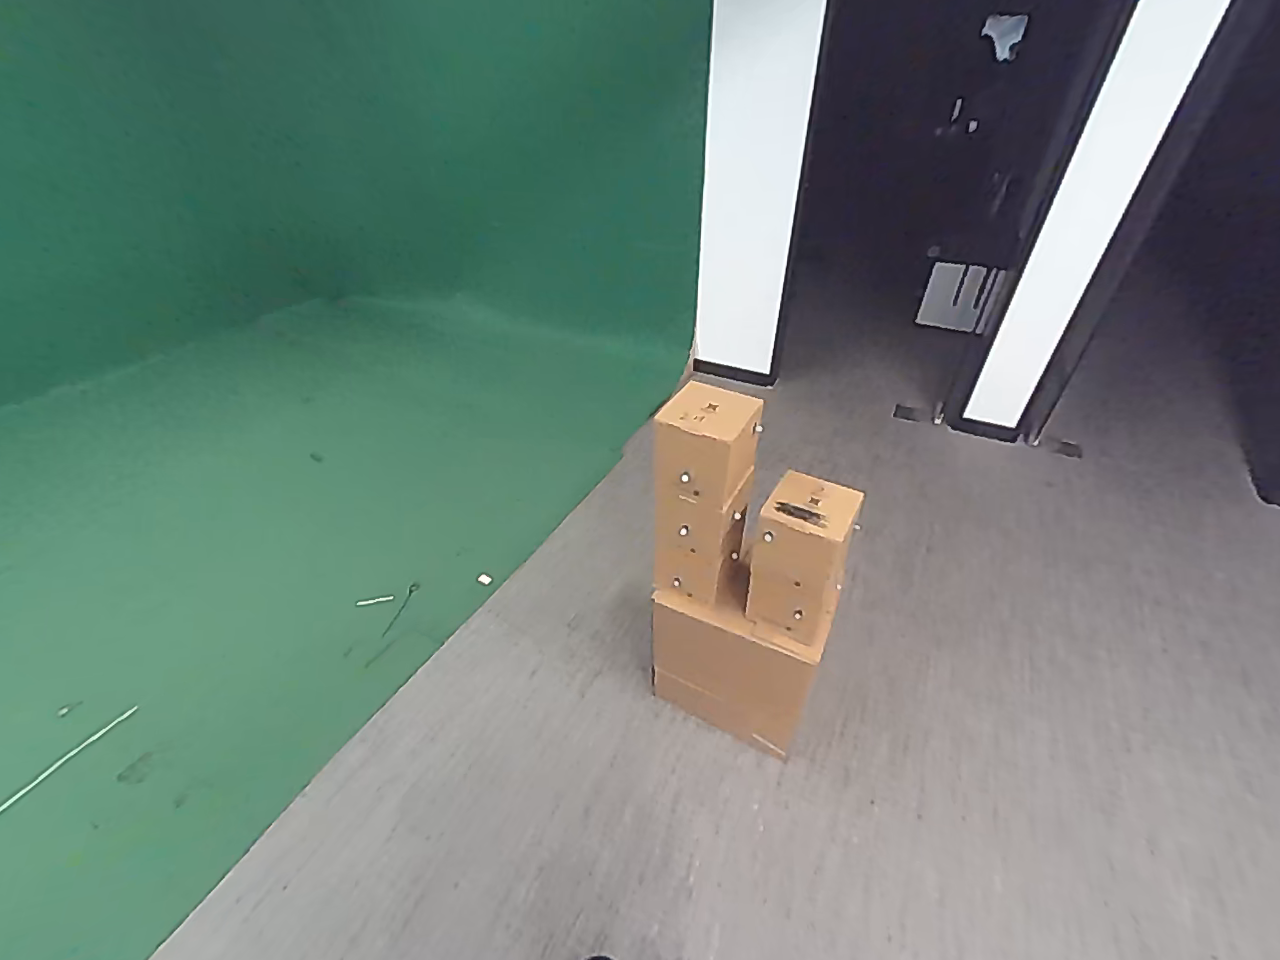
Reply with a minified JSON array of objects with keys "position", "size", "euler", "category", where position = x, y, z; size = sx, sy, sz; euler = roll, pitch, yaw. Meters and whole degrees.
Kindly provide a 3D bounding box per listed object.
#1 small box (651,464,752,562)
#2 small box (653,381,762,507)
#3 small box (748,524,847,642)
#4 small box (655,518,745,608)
[{"position":[0.138,0.054,1.218],"size":[0.168,0.176,0.179],"euler":[20,45,22],"category":"small box"},{"position":[0.134,-0.076,1.115],"size":[0.168,0.176,0.179],"euler":[20,44,23],"category":"small box"},{"position":[0.357,0.237,1.244],"size":[0.168,0.176,0.179],"euler":[20,43,25],"category":"small box"},{"position":[0.142,0.177,1.326],"size":[0.168,0.176,0.179],"euler":[19,44,22],"category":"small box"}]
